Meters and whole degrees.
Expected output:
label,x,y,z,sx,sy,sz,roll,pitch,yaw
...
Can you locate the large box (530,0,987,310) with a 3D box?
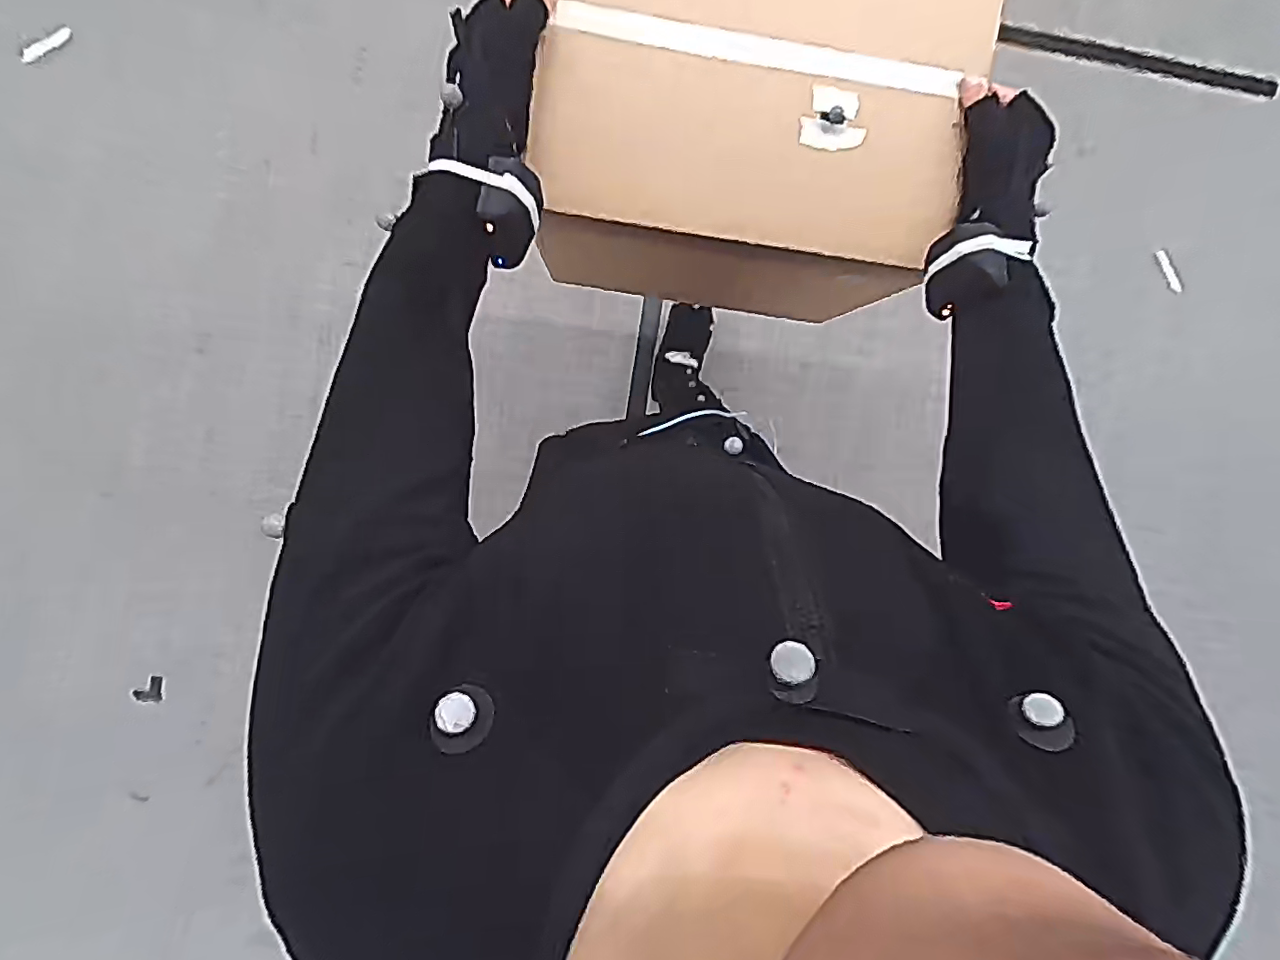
label,x,y,z,sx,sy,sz,roll,pitch,yaw
large box,0.100,-0.405,0.634,0.408,0.320,0.320,7,98,-5
